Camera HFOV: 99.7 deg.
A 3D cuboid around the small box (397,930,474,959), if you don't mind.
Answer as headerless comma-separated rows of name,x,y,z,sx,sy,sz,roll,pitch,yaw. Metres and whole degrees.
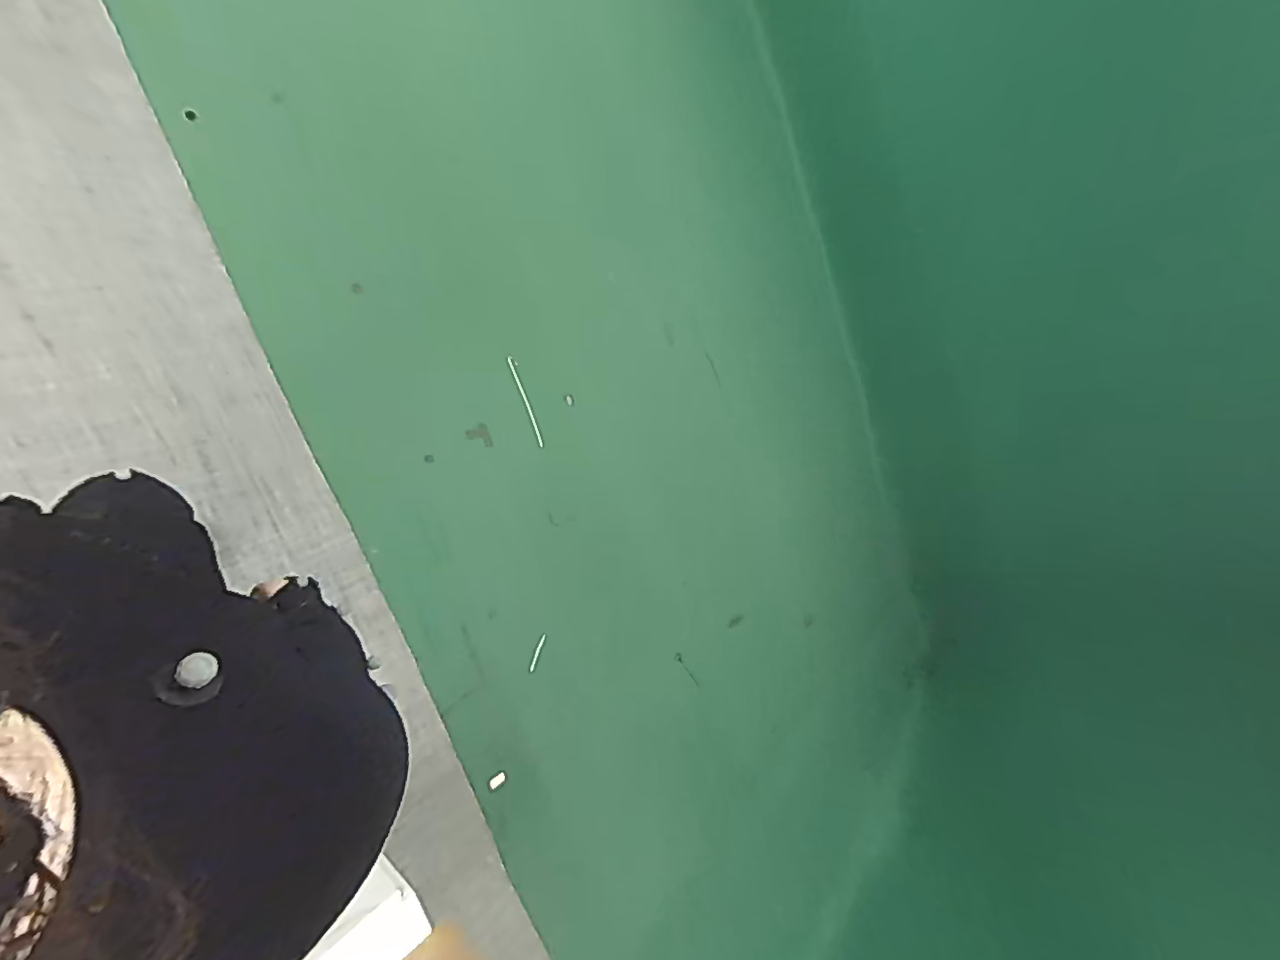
small box,-0.313,0.823,0.799,0.168,0.176,0.179,-26,103,-41
